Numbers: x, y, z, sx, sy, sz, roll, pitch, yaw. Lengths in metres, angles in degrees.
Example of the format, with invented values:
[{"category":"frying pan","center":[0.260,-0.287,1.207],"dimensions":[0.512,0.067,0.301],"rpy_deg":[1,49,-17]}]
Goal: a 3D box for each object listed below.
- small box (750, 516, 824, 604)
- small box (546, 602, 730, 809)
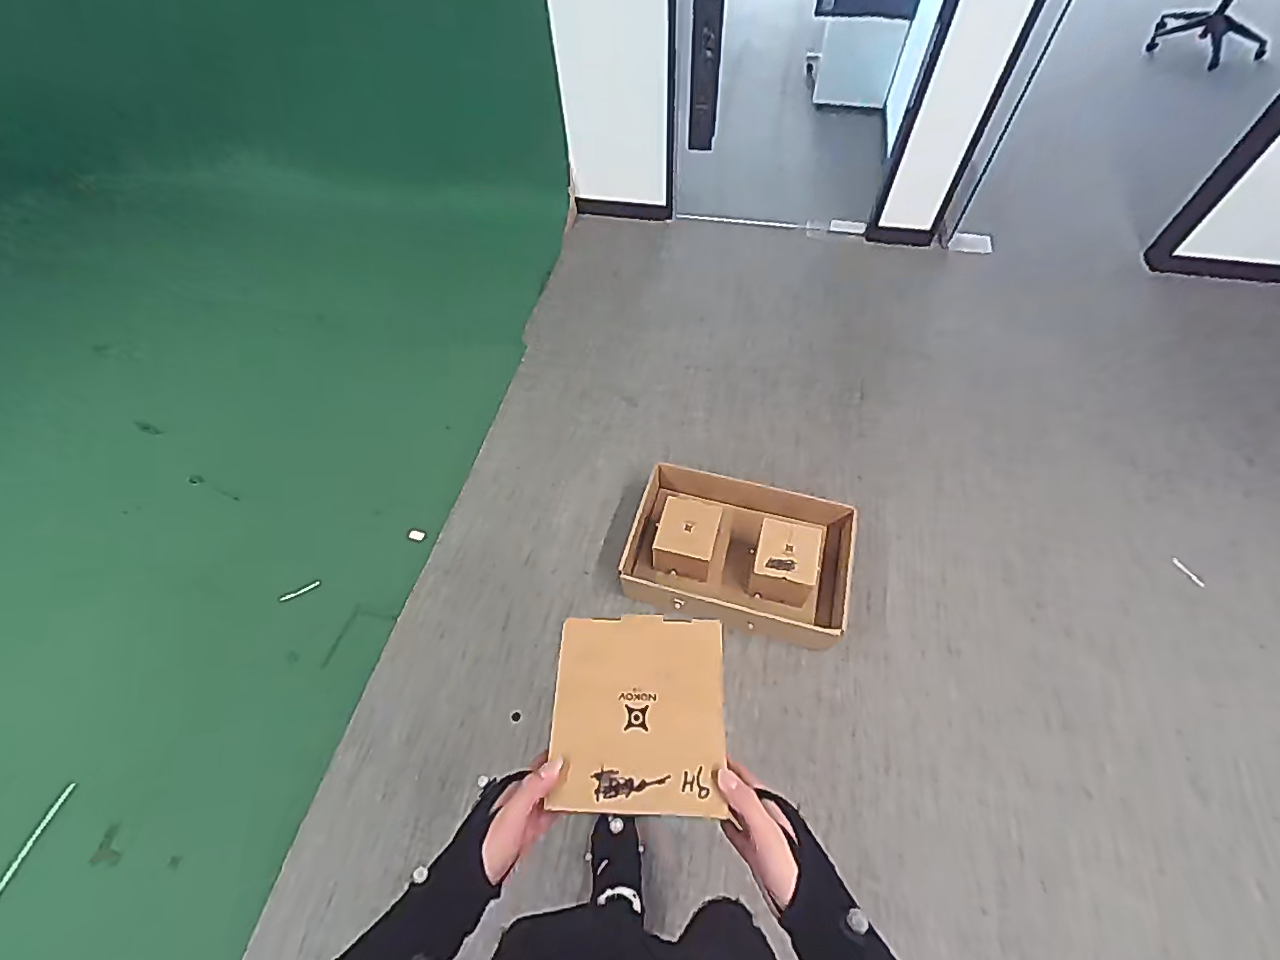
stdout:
[{"category":"small box","center":[0.411,0.230,1.533],"dimensions":[0.168,0.176,0.179],"rpy_deg":[12,58,10]},{"category":"small box","center":[0.008,0.246,0.582],"dimensions":[0.168,0.176,0.179],"rpy_deg":[0,58,6]}]
